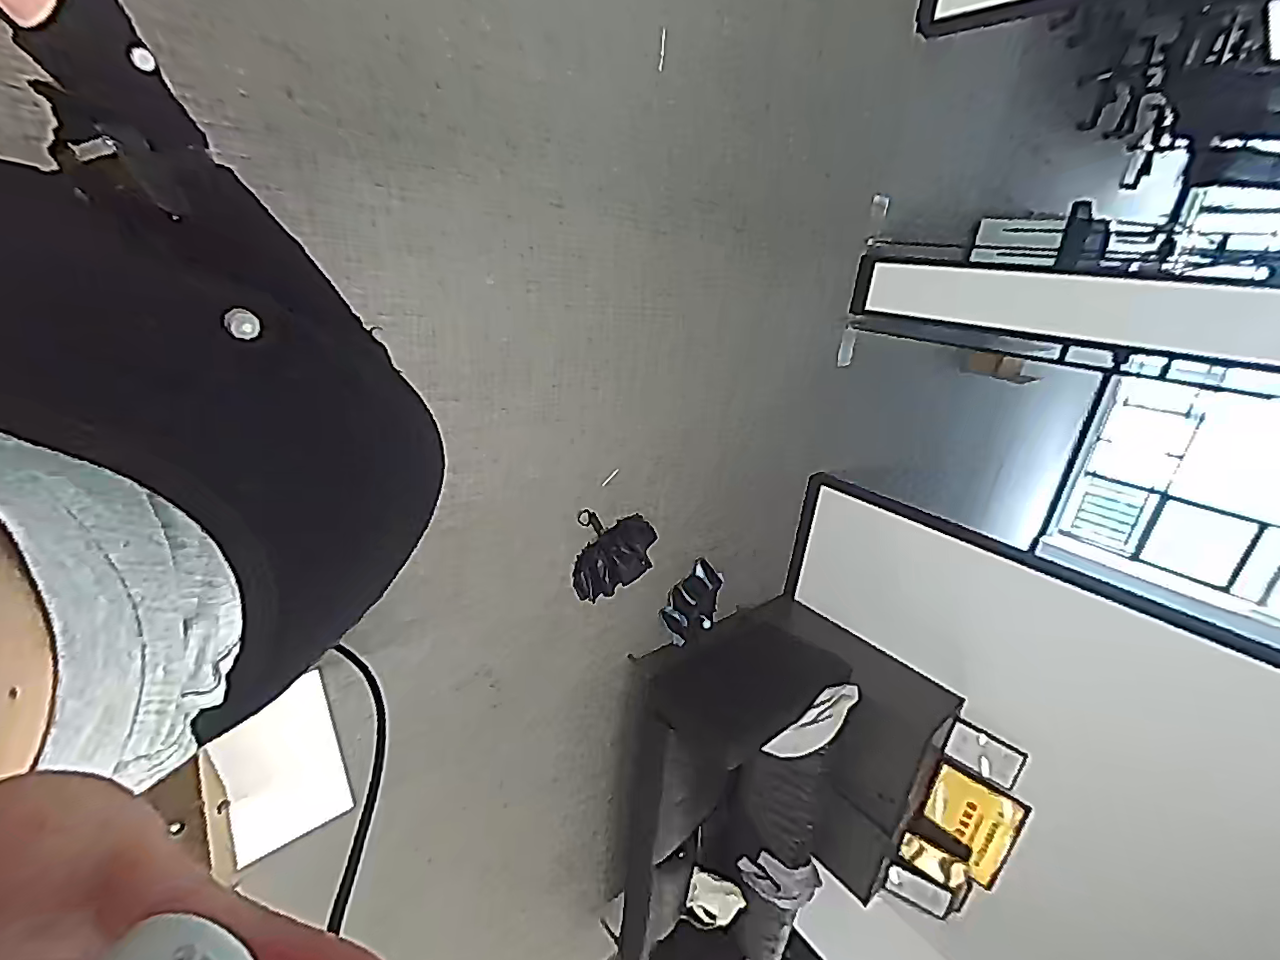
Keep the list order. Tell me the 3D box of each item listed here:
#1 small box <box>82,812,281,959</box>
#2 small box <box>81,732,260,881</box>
[{"bbox_3d":[-0.628,0.604,0.746,0.168,0.176,0.179,-21,125,-35],"label":"small box"},{"bbox_3d":[-0.735,0.546,0.858,0.168,0.176,0.179,-22,125,-35],"label":"small box"}]
